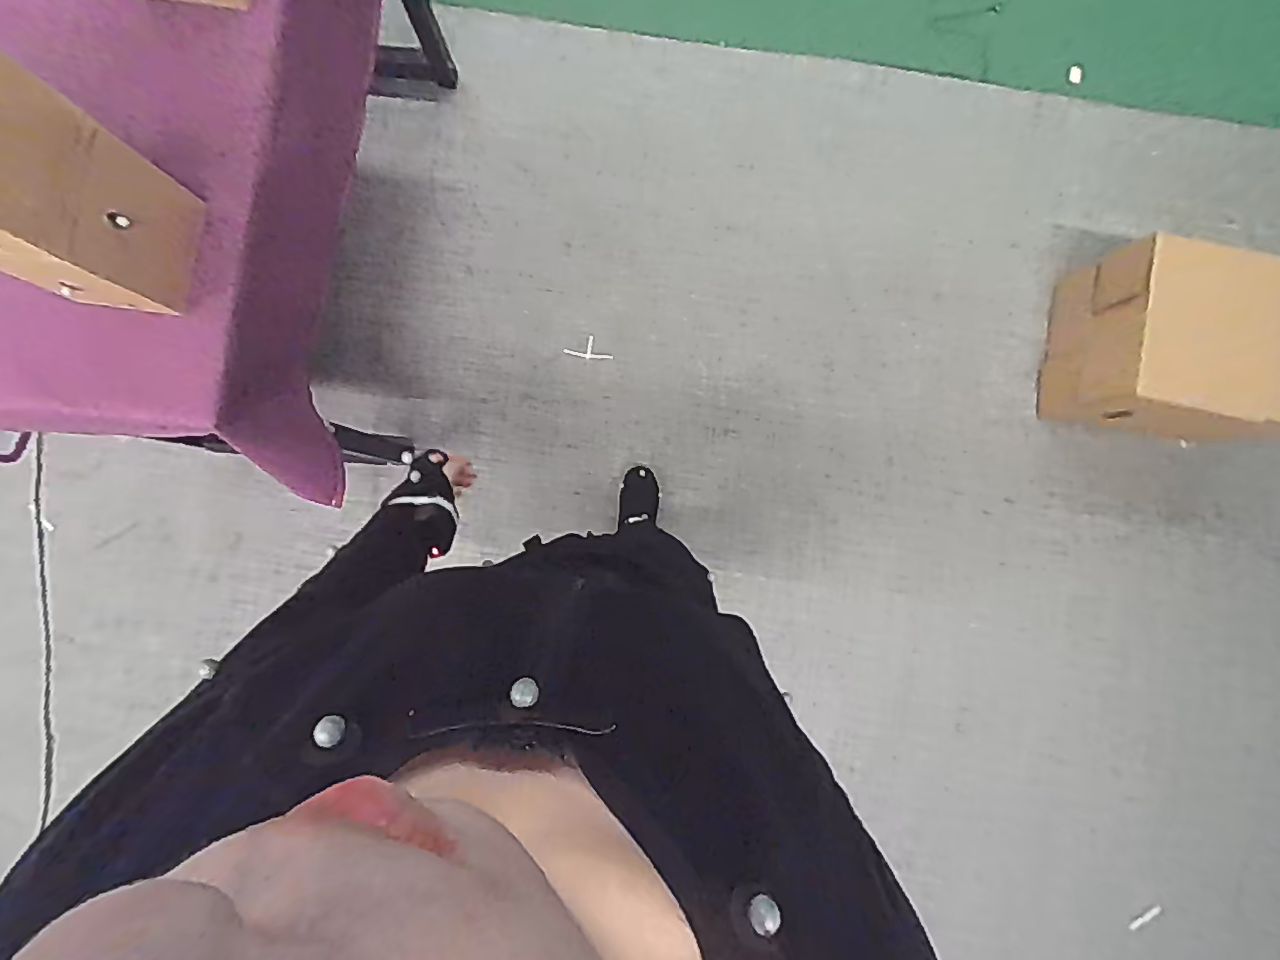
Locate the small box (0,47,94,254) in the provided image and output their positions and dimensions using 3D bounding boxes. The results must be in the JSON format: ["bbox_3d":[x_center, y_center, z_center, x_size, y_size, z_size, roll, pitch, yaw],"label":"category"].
[{"bbox_3d":[-0.728,-0.362,0.554,0.168,0.176,0.179,8,87,0],"label":"small box"}]

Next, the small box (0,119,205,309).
[{"bbox_3d":[-0.728,-0.346,0.716,0.168,0.176,0.179,8,86,0],"label":"small box"}]
